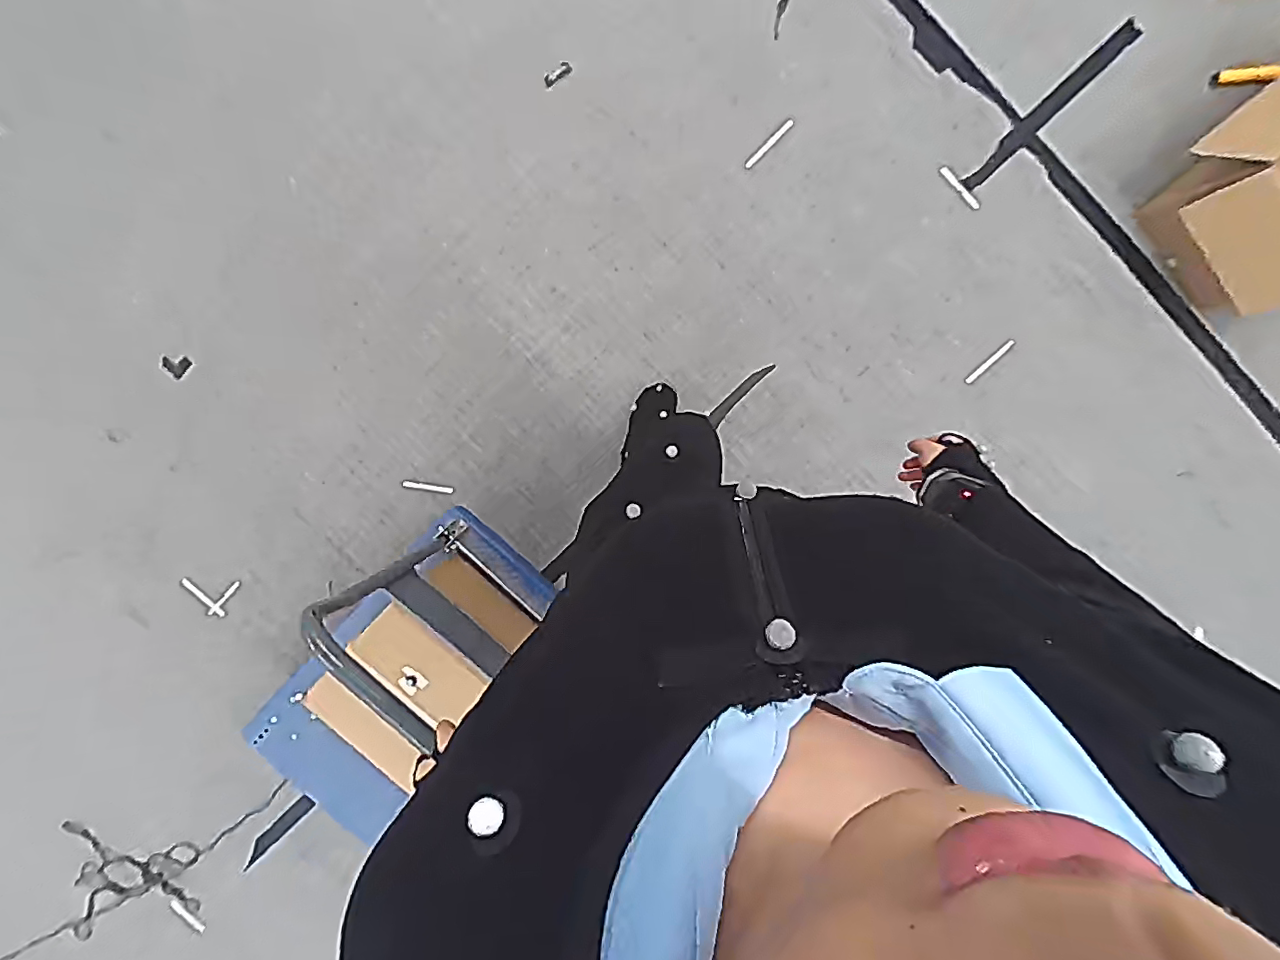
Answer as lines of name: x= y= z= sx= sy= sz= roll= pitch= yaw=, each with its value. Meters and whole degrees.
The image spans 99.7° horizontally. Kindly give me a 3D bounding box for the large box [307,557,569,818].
large box: x=-0.429 y=0.449 z=1.244 sx=0.408 sy=0.320 sz=0.320 roll=44 pitch=96 yaw=-4
